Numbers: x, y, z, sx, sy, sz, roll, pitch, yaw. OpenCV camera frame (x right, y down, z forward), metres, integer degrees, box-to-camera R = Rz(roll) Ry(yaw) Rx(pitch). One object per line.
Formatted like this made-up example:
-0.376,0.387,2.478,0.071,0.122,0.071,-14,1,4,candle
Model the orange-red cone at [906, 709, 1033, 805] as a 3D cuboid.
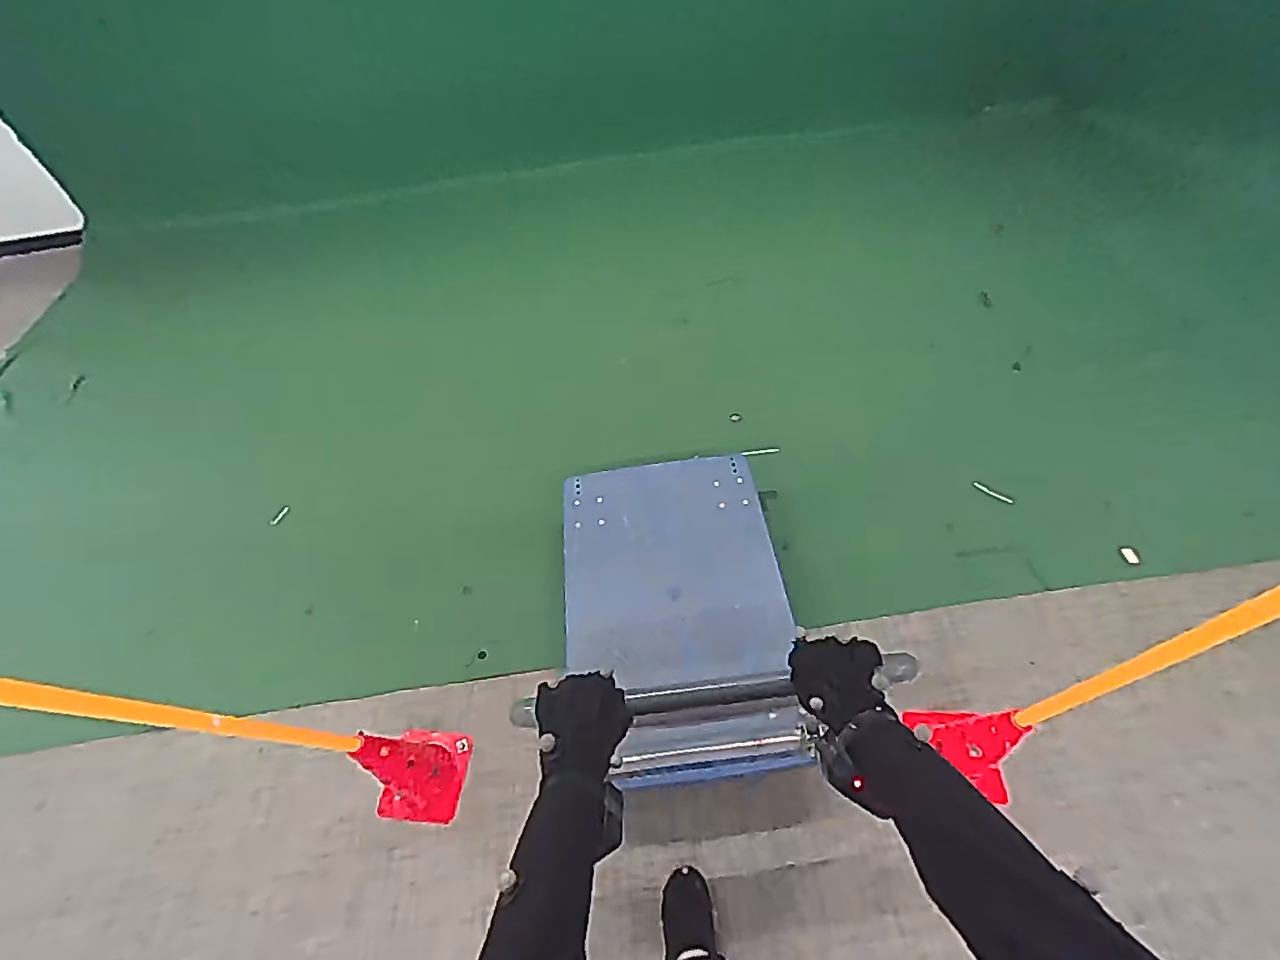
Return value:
0.733,0.553,1.148,0.198,0.360,0.199,0,53,7,orange-red cone
